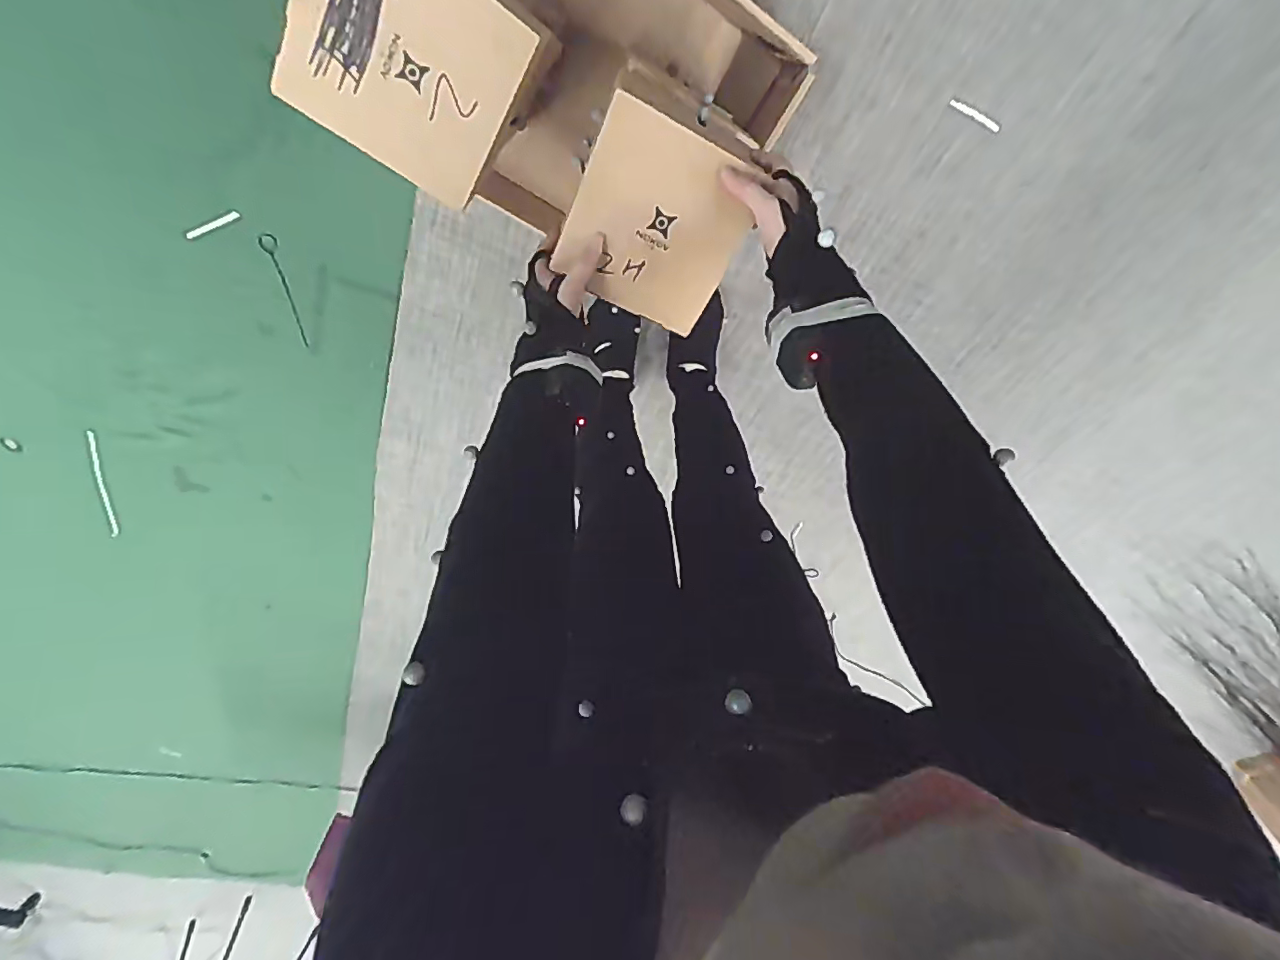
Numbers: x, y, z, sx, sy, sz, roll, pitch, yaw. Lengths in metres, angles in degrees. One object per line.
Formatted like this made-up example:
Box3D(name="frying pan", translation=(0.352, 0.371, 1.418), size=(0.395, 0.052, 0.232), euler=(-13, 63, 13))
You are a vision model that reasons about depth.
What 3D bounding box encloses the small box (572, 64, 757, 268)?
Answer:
Box3D(name="small box", translation=(0.028, -0.421, 0.720), size=(0.179, 0.176, 0.168), euler=(23, 126, -17))
